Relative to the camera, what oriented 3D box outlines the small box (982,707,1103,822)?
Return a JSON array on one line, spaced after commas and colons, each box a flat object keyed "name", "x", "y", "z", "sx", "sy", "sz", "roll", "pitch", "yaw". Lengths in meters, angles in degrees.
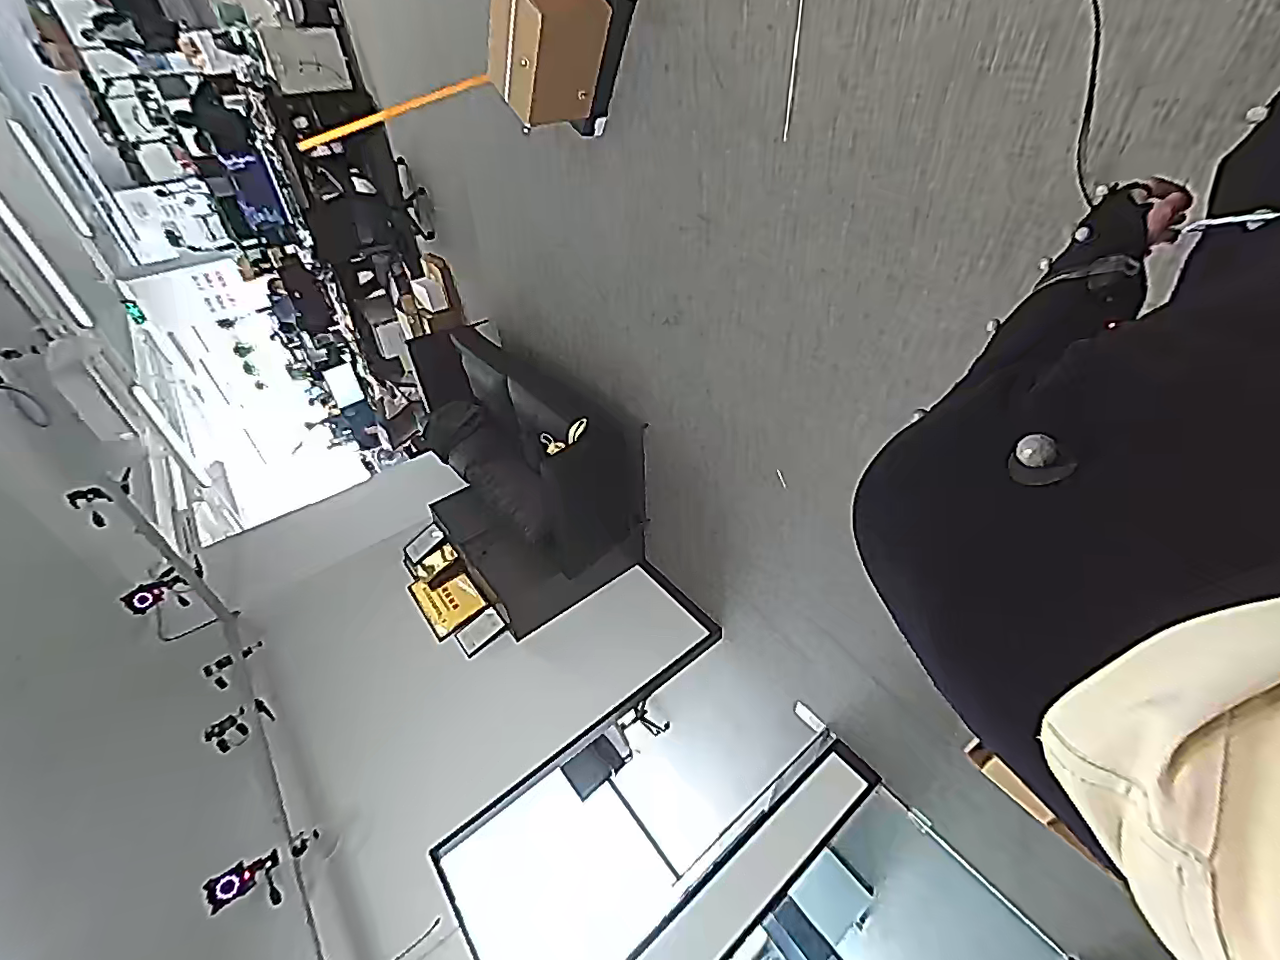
[{"name": "small box", "x": 1.037, "y": 0.730, "z": 1.394, "sx": 0.168, "sy": 0.176, "sz": 0.179, "roll": 41, "pitch": 145, "yaw": 36}]
